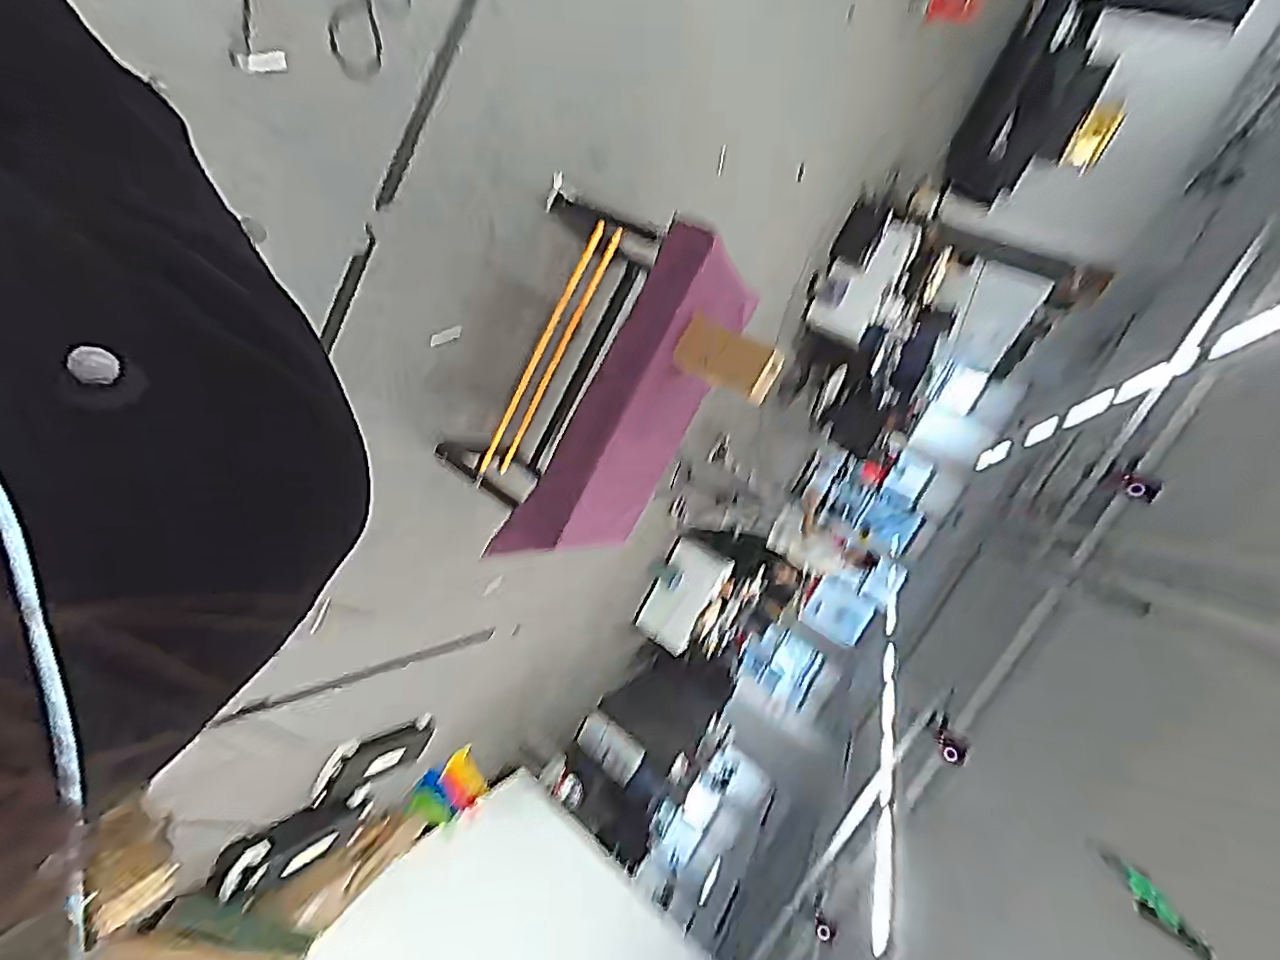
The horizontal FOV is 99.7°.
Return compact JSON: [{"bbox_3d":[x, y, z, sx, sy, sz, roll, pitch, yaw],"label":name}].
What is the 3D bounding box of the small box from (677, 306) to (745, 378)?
[{"bbox_3d":[0.254,-0.504,1.977,0.179,0.176,0.168,-61,158,9],"label":"small box"}]
